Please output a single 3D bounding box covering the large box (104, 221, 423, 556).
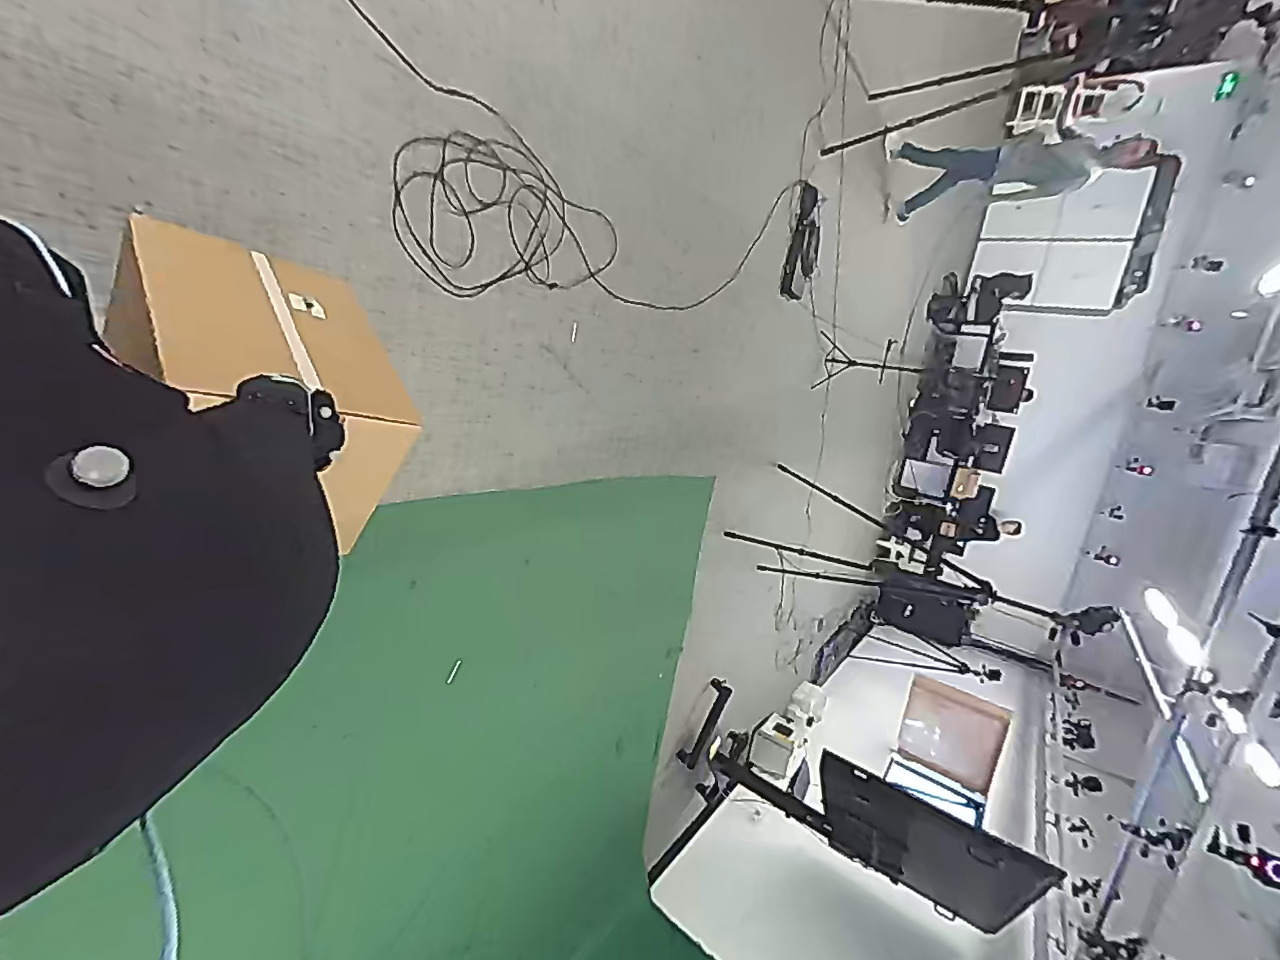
[{"bbox_3d":[-0.627,-0.131,0.887,0.320,0.408,0.320,5,131,-53],"label":"large box"}]
